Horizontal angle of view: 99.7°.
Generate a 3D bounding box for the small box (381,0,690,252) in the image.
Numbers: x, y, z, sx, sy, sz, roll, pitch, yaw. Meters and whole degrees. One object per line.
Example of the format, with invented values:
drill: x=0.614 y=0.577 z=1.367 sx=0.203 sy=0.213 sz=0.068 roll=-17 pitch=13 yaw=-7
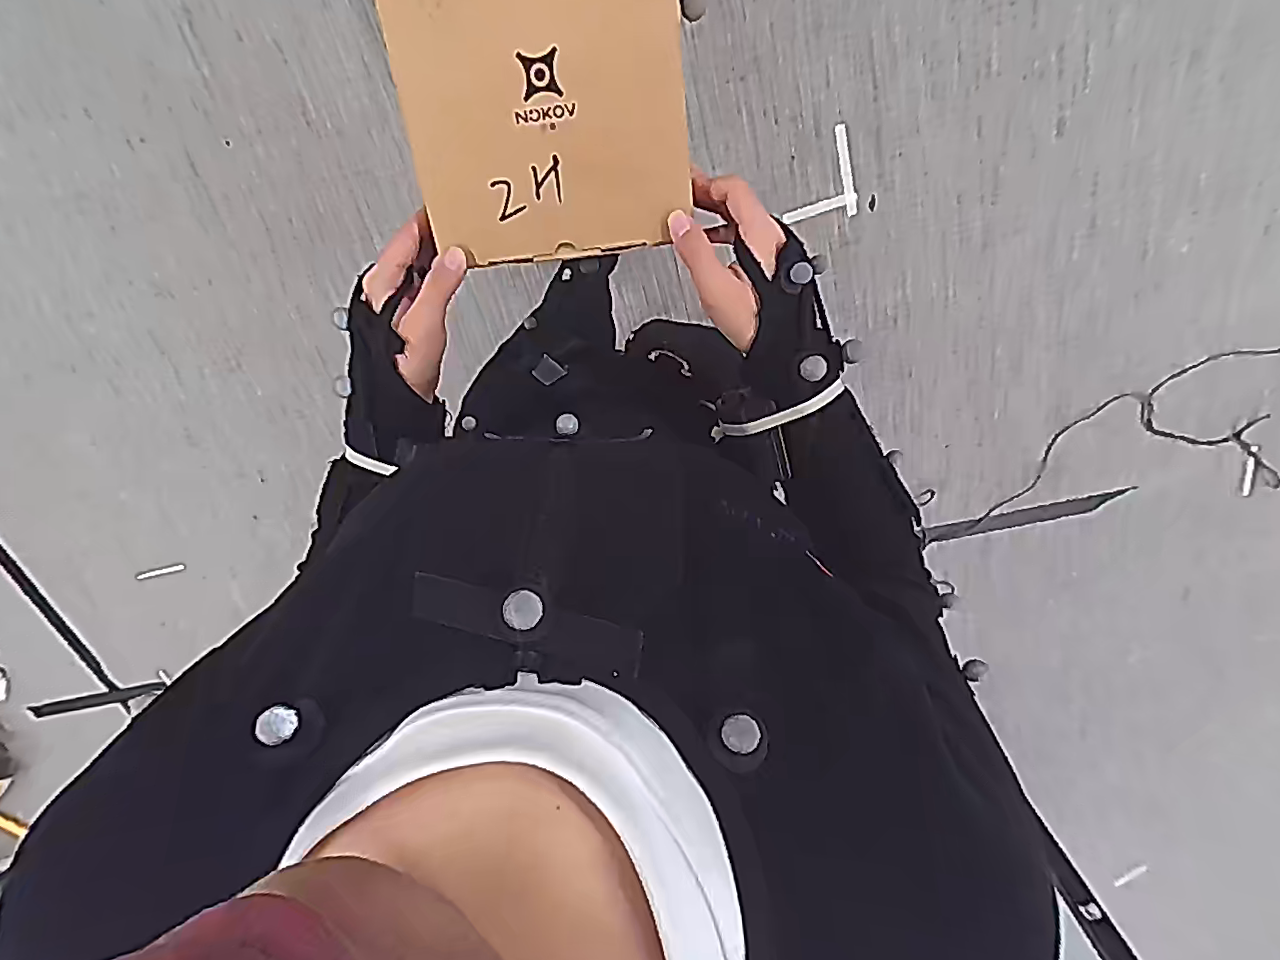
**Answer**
small box: x=-0.055 y=-0.262 z=0.380 sx=0.168 sy=0.176 sz=0.179 roll=-4 pitch=113 yaw=5
